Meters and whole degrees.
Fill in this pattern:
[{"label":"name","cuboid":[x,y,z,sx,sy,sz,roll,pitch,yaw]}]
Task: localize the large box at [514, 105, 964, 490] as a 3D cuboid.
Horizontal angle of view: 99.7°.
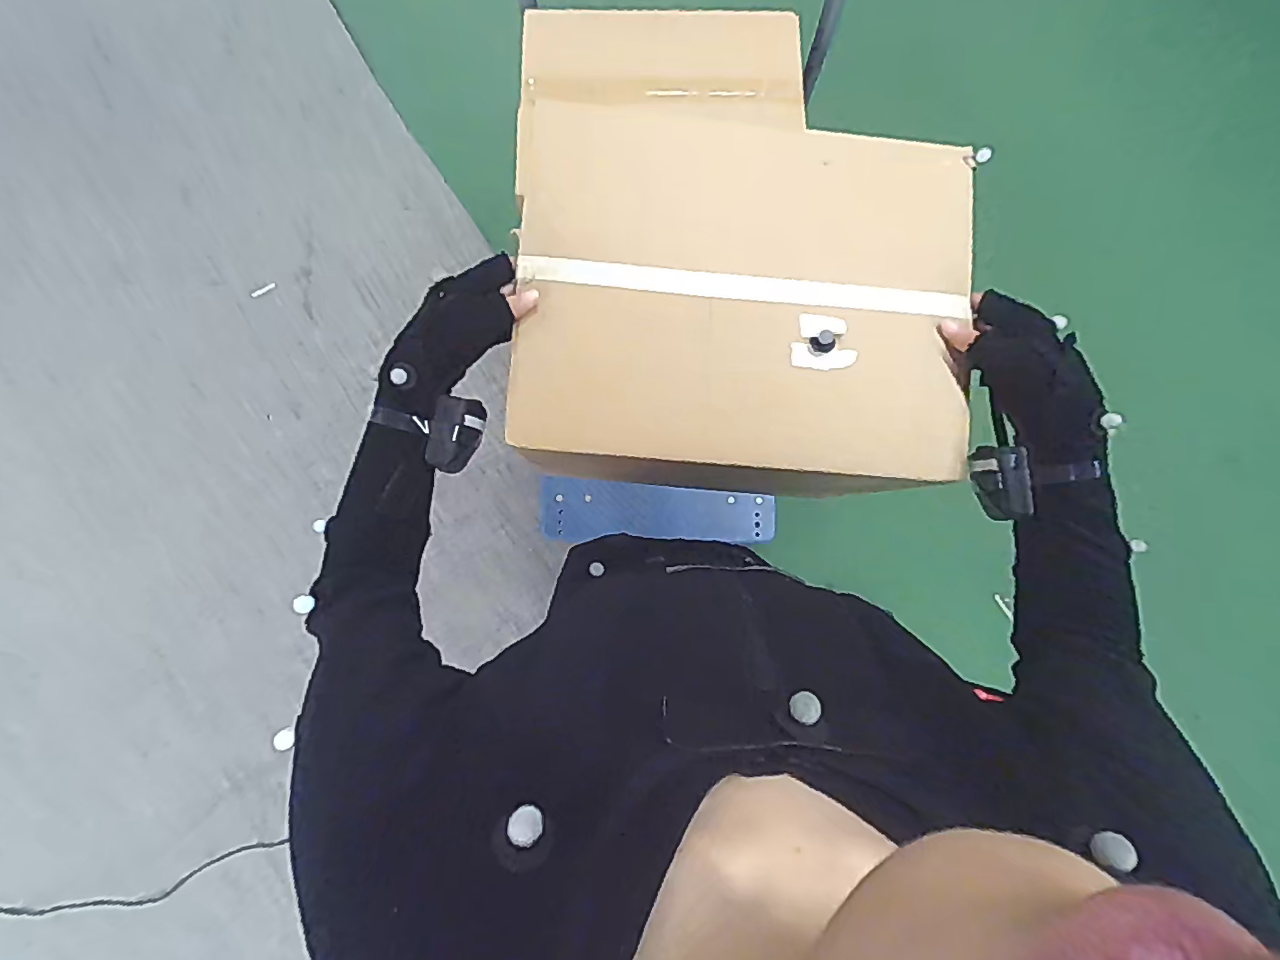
[{"label":"large box","cuboid":[0.085,-0.162,0.632,0.408,0.320,0.320,5,86,-4]}]
